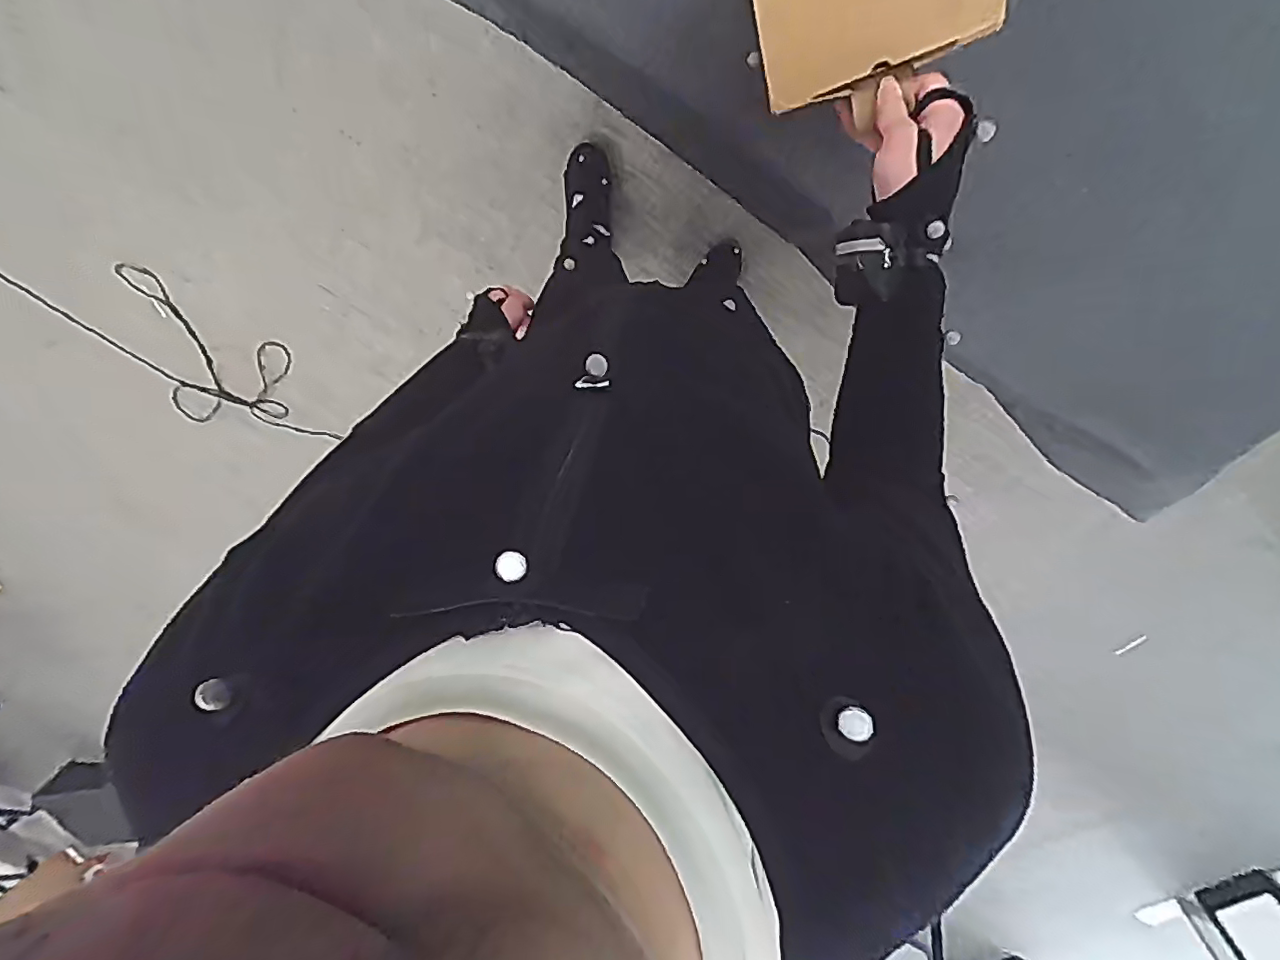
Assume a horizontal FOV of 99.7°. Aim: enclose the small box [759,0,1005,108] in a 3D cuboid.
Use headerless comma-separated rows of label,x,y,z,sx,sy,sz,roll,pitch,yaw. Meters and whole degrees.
small box,0.179,-0.430,0.434,0.168,0.176,0.179,-8,122,20
